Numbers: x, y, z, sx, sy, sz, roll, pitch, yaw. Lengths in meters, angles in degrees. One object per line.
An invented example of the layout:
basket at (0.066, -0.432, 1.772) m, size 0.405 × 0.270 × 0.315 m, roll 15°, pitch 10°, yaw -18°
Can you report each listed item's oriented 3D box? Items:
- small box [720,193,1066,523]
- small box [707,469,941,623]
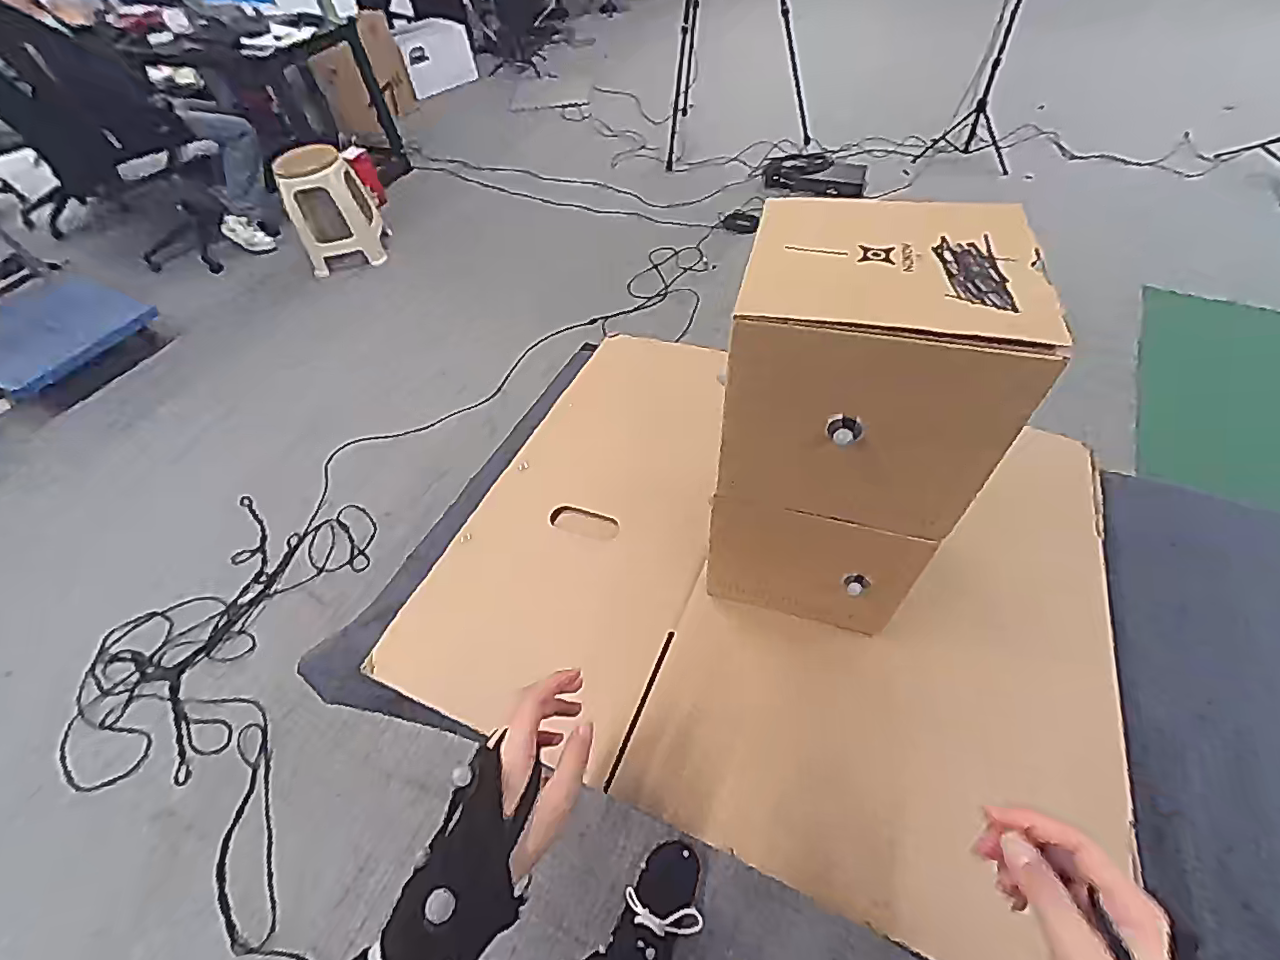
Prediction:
small box at (0.163, -0.087, 0.403) m, size 0.179 × 0.176 × 0.168 m, roll 10°, pitch 51°, yaw 13°
small box at (0.169, 0.019, 0.529) m, size 0.179 × 0.176 × 0.168 m, roll 11°, pitch 51°, yaw 14°
